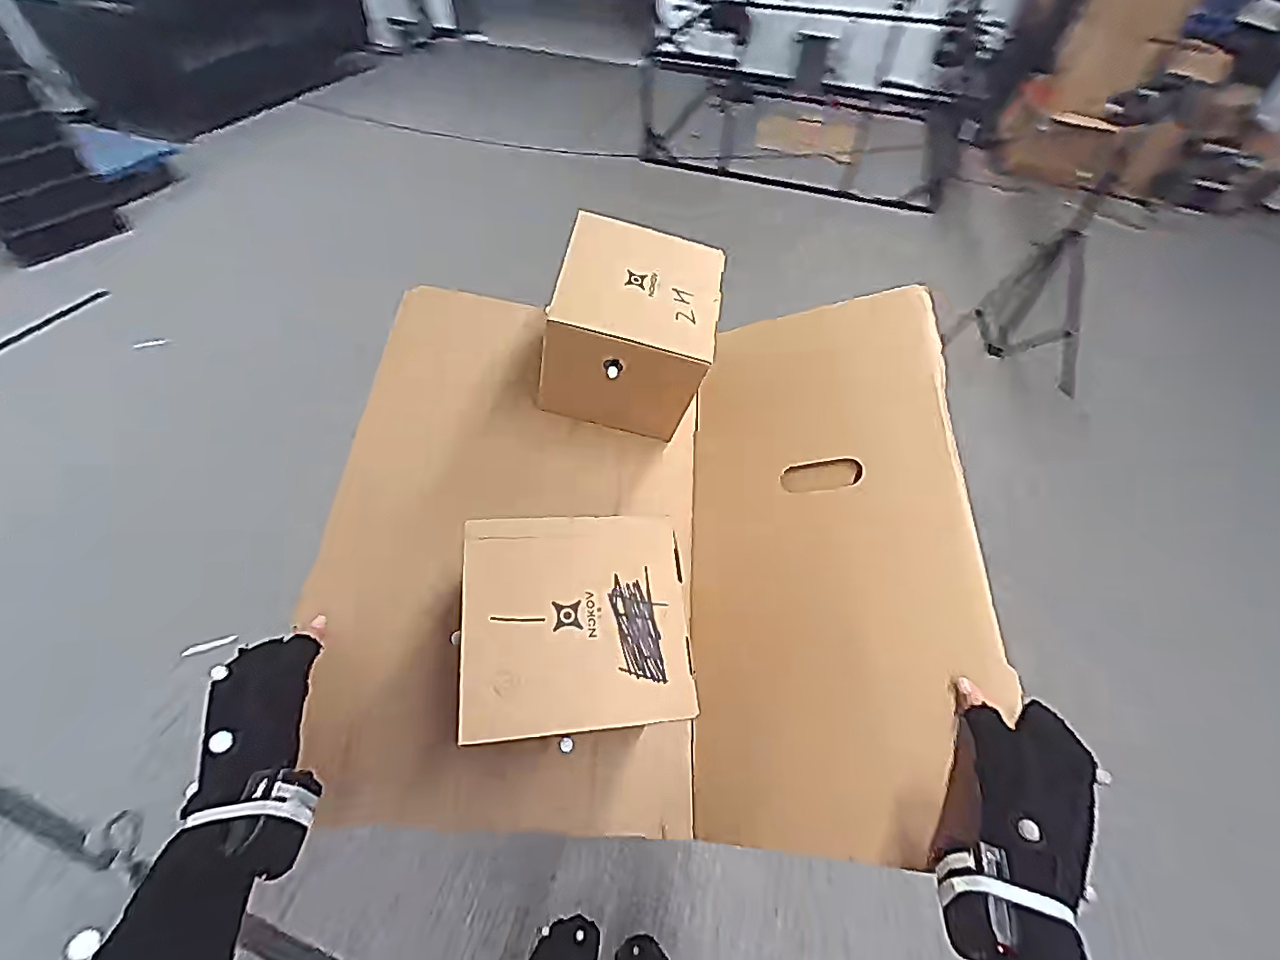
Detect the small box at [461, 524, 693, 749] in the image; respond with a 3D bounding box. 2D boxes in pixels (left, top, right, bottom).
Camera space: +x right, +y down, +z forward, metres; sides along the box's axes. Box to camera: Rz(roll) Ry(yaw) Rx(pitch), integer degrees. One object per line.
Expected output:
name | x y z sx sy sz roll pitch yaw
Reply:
small box | -0.067 0.146 0.501 0.179 0.176 0.168 -1 66 -13
